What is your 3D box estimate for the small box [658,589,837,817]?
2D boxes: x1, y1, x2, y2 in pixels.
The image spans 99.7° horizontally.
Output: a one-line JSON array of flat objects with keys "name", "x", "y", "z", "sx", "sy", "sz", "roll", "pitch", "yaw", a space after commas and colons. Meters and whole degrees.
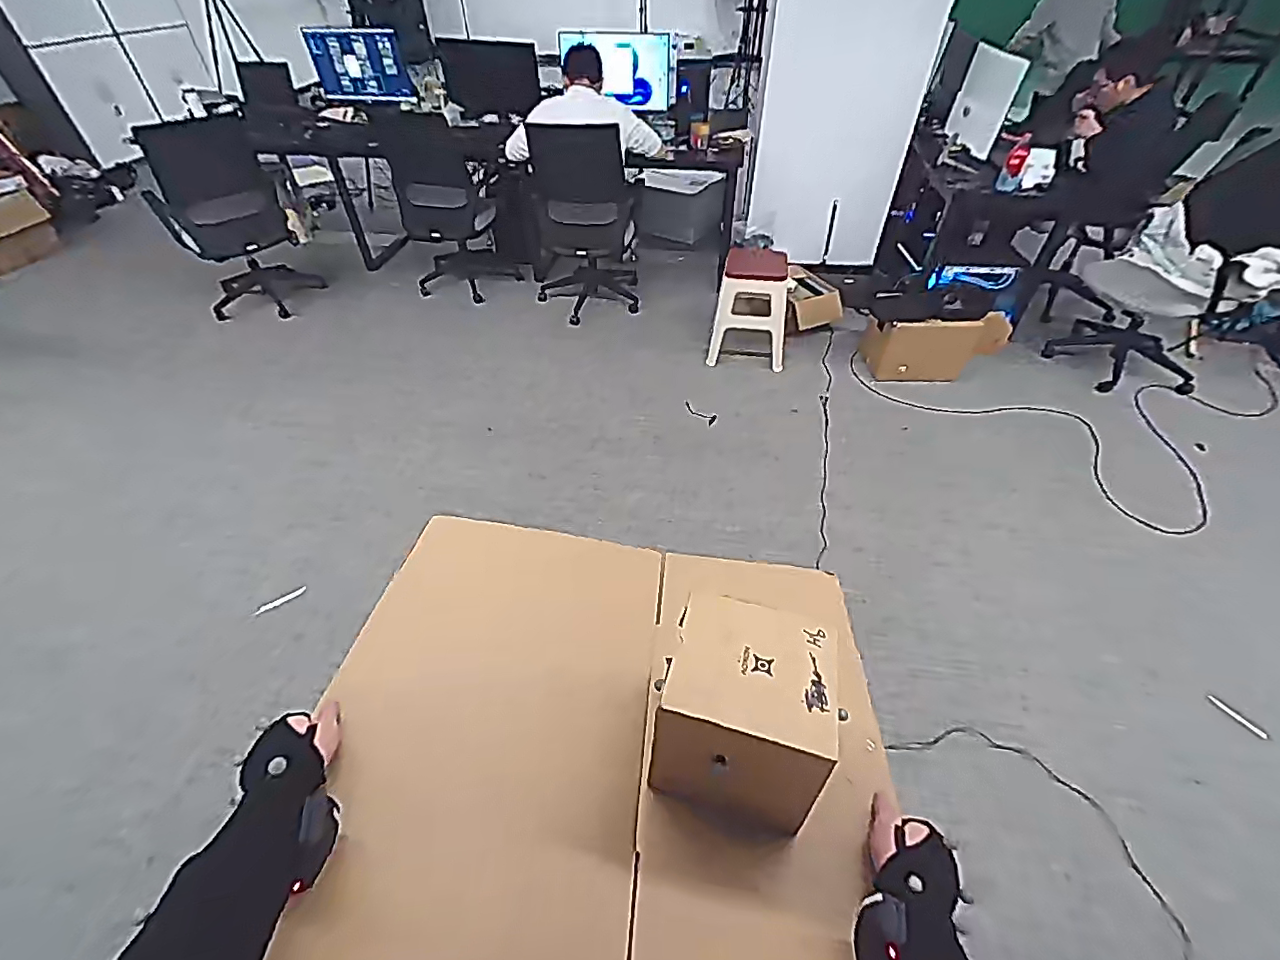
[{"name": "small box", "x": 0.123, "y": 0.259, "z": 0.635, "sx": 0.179, "sy": 0.176, "sz": 0.168, "roll": 11, "pitch": 38, "yaw": 12}]
